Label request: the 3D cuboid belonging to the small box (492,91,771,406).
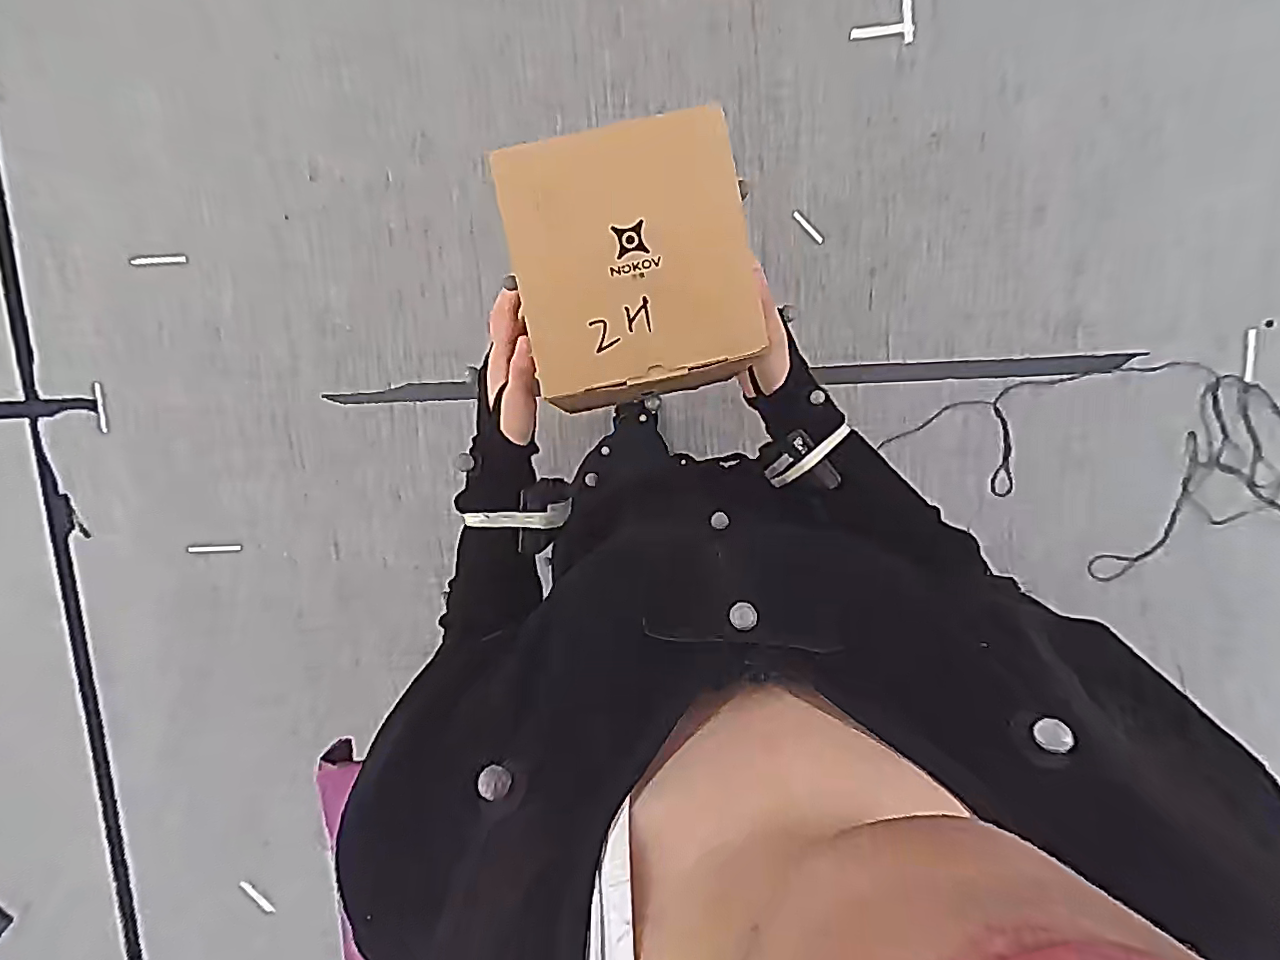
[{"bbox_3d":[-0.006,-0.167,0.449,0.168,0.176,0.179,-12,94,0],"label":"small box"}]
